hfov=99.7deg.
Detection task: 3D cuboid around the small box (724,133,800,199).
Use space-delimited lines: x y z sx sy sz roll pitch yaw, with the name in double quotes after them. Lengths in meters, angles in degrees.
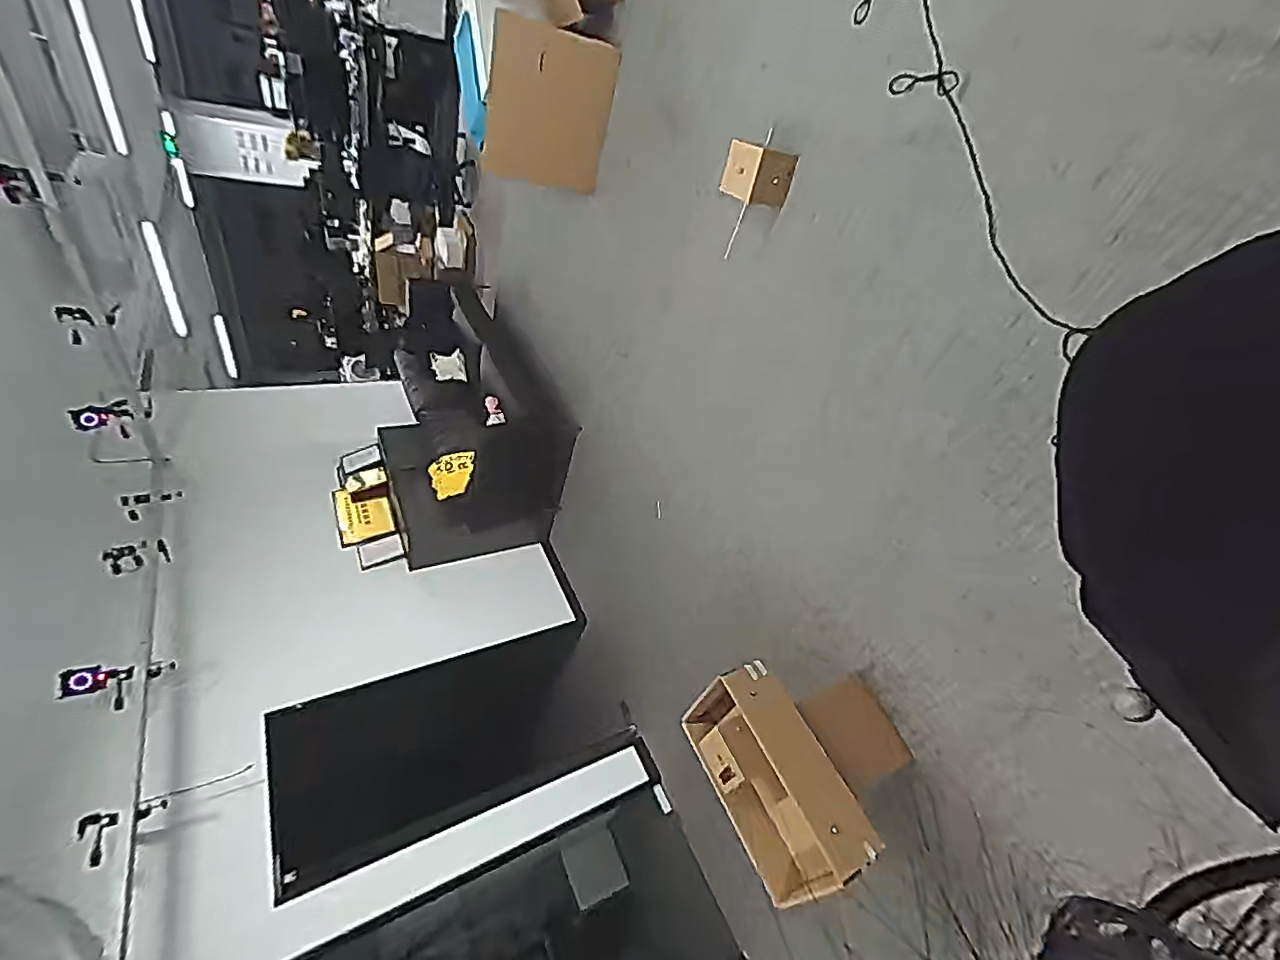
0.430 -1.103 1.907 0.179 0.176 0.168 52 140 40 "small box"
